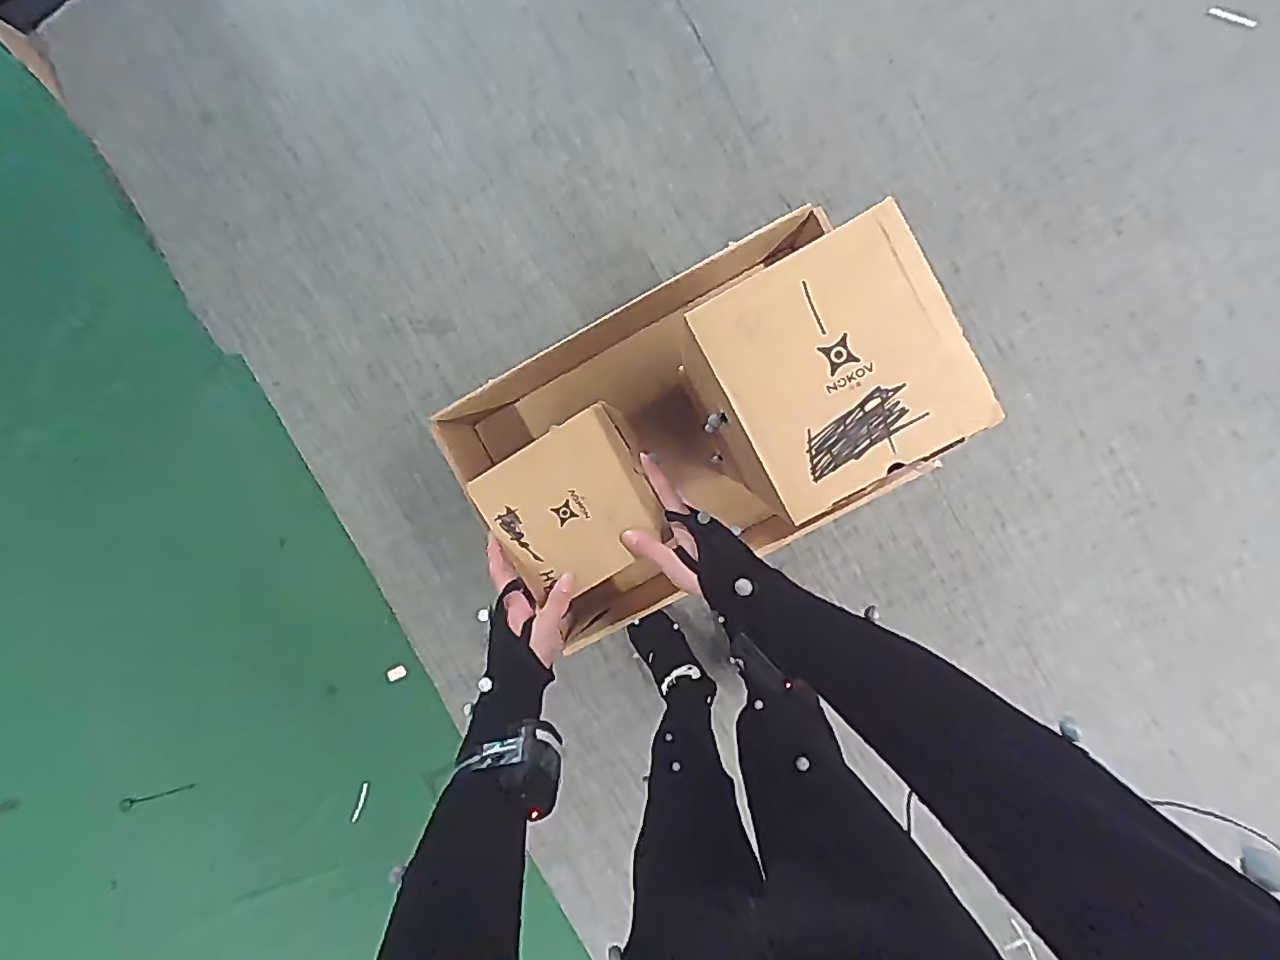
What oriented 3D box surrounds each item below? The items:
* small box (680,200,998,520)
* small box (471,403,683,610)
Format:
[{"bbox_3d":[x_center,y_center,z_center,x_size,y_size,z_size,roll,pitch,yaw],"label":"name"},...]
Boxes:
[{"bbox_3d":[0.147,-0.088,0.462,0.168,0.176,0.179,-28,91,6],"label":"small box"},{"bbox_3d":[-0.065,0.023,0.652,0.179,0.176,0.168,-31,91,4],"label":"small box"}]
